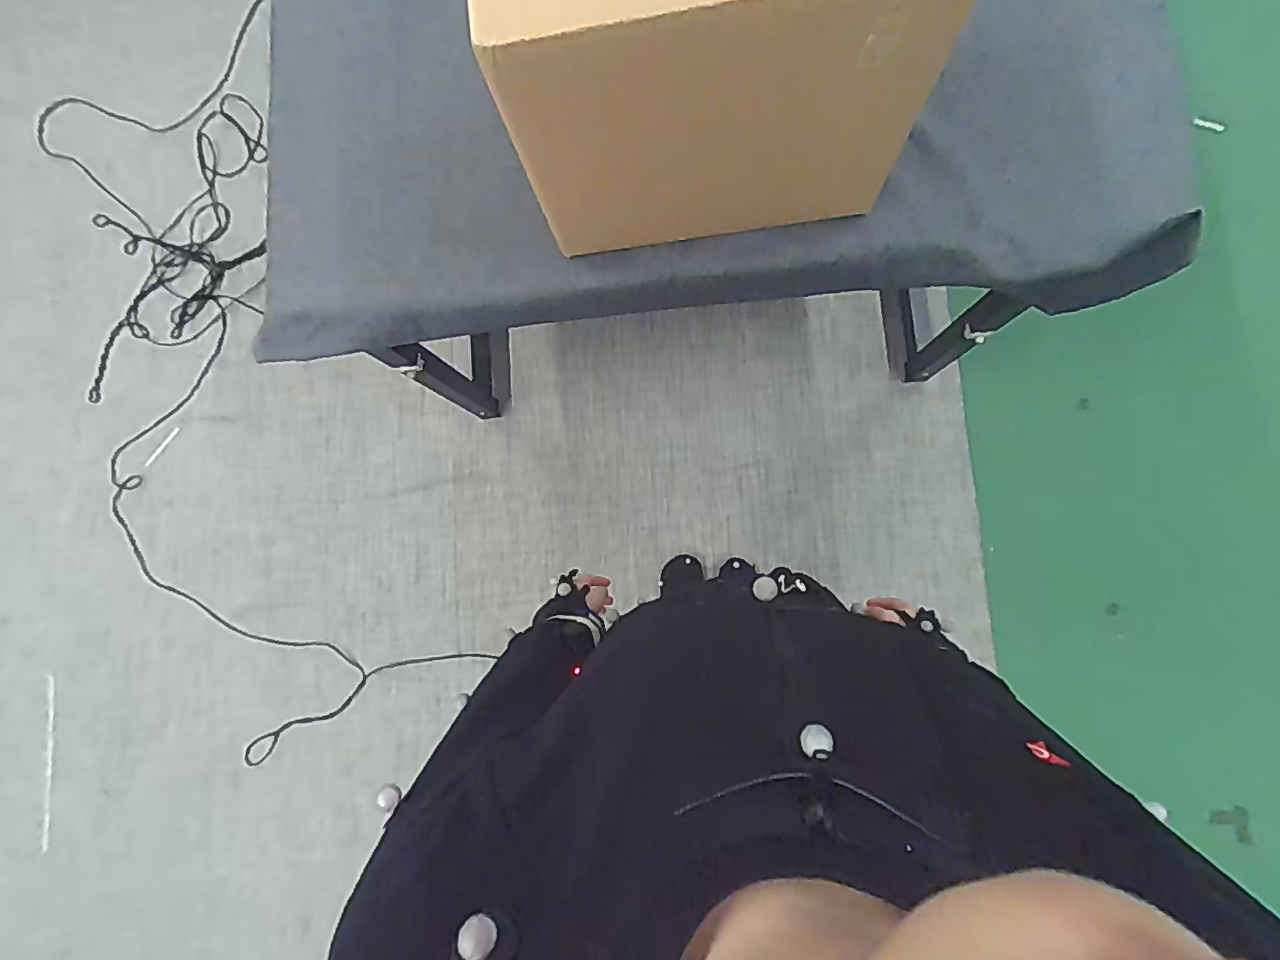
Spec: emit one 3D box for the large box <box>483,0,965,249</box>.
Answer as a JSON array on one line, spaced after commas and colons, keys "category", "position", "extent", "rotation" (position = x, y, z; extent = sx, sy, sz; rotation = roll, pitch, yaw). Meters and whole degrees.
[{"category": "large box", "position": [0.065, -0.499, 0.586], "extent": [0.408, 0.320, 0.320], "rotation": [-7, 82, 4]}]
